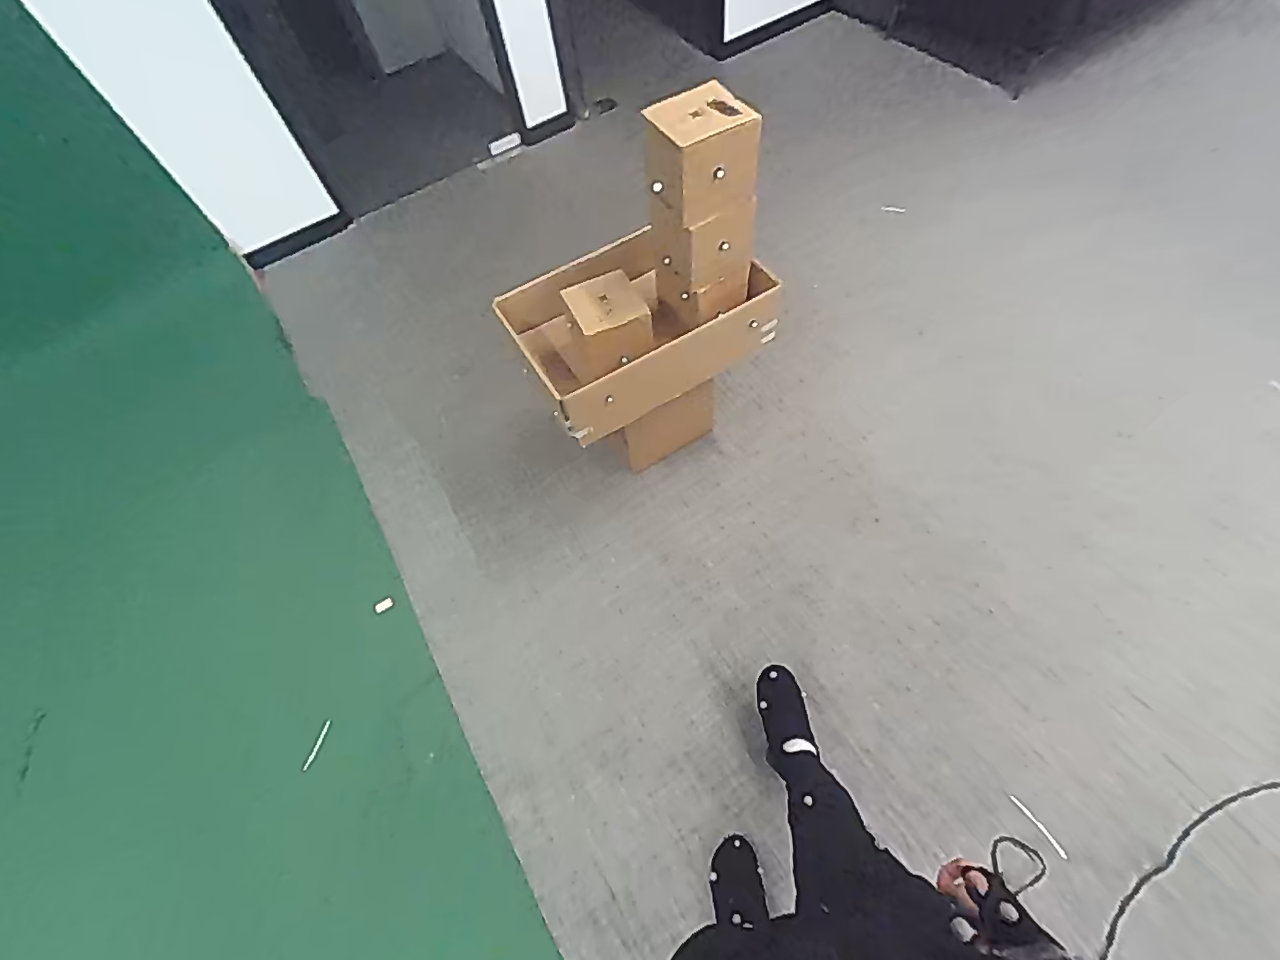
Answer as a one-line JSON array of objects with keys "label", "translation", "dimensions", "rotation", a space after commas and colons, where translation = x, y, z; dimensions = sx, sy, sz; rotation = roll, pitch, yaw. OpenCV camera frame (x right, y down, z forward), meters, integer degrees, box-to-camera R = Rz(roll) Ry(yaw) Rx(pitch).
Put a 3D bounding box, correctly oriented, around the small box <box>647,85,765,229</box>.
[{"label": "small box", "translation": [0.130, -0.653, 1.103], "dimensions": [0.179, 0.176, 0.168], "rotation": [-27, 61, -9]}]
